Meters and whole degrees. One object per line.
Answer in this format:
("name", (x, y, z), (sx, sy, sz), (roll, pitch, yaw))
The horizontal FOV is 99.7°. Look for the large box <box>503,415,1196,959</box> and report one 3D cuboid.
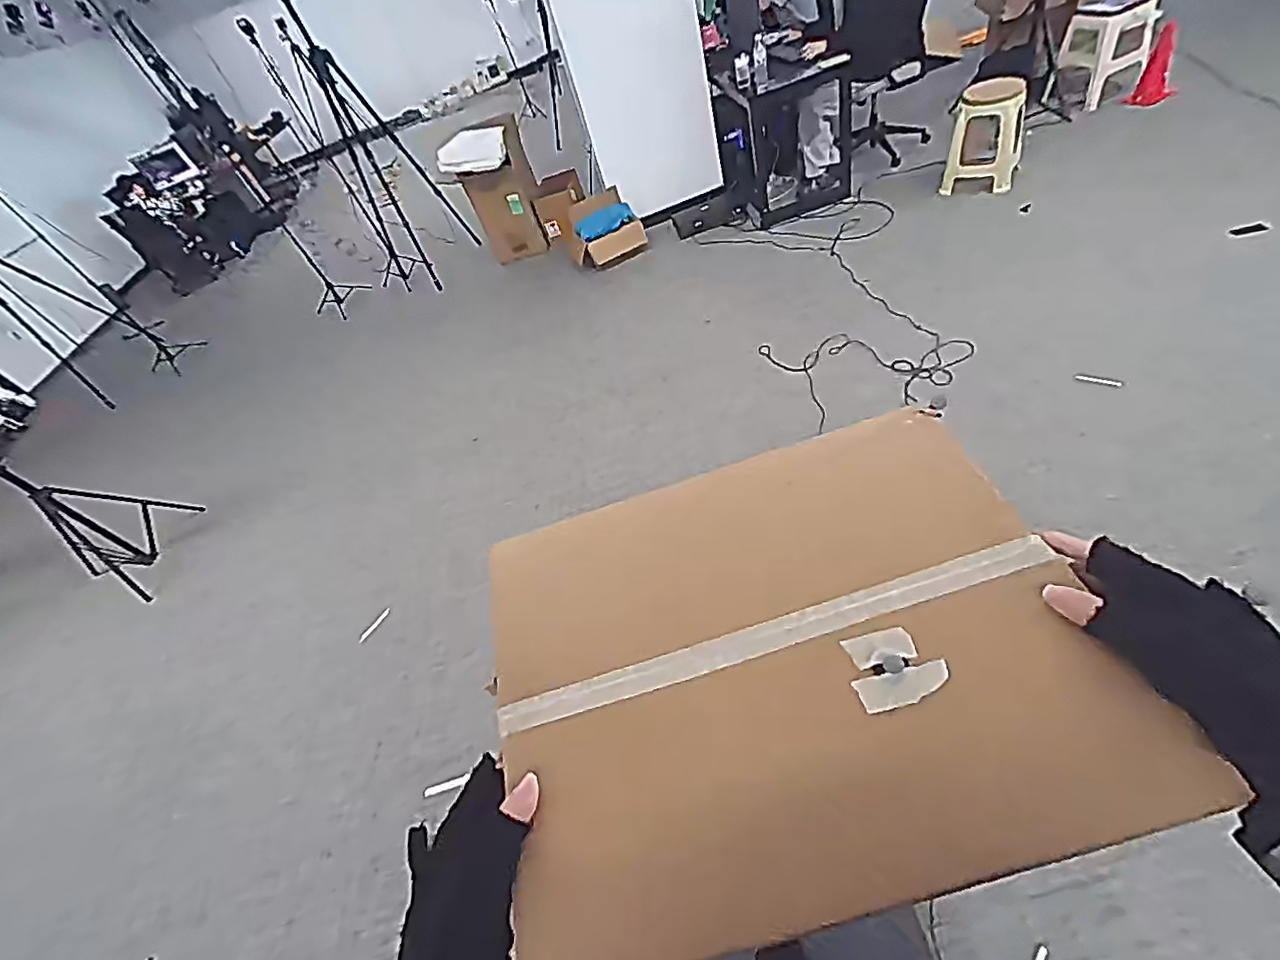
("large box", (0.126, 0.204, 0.517), (0.408, 0.320, 0.320), (-19, 52, 2))
